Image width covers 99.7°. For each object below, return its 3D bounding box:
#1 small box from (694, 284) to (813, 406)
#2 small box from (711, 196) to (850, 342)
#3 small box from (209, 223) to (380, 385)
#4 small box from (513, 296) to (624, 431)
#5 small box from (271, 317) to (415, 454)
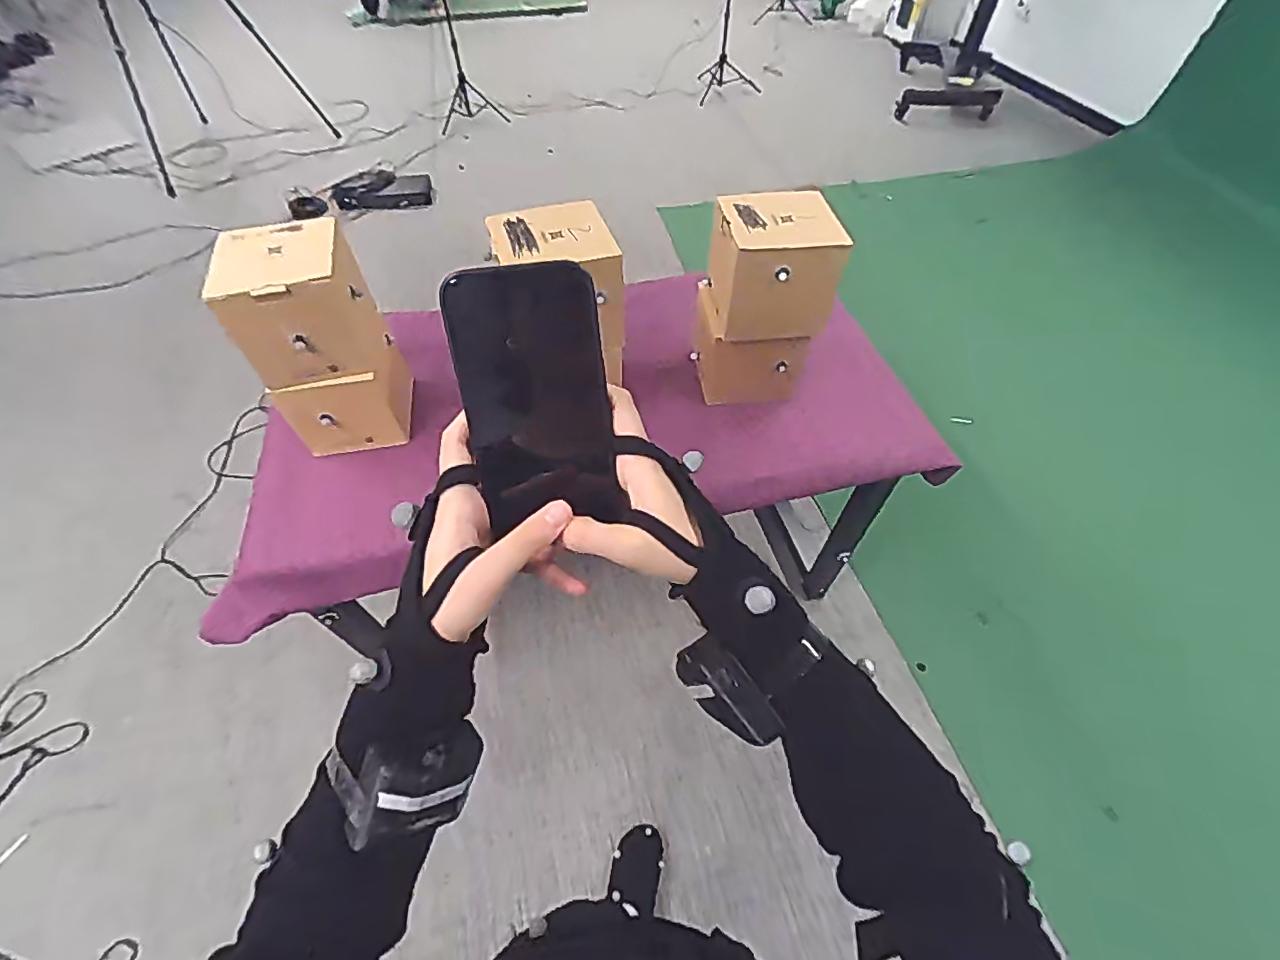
[{"bbox_3d":[0.206,-0.259,1.038,0.179,0.176,0.168,-5,53,-3],"label":"small box"},{"bbox_3d":[0.217,-0.346,0.899,0.179,0.176,0.168,-5,53,-4],"label":"small box"},{"bbox_3d":[-0.518,-0.266,0.840,0.168,0.176,0.179,-13,55,-11],"label":"small box"},{"bbox_3d":[-0.129,-0.212,1.003,0.179,0.176,0.168,-10,54,-7],"label":"small box"},{"bbox_3d":[-0.515,-0.161,0.967,0.168,0.176,0.179,-9,54,-7],"label":"small box"}]
